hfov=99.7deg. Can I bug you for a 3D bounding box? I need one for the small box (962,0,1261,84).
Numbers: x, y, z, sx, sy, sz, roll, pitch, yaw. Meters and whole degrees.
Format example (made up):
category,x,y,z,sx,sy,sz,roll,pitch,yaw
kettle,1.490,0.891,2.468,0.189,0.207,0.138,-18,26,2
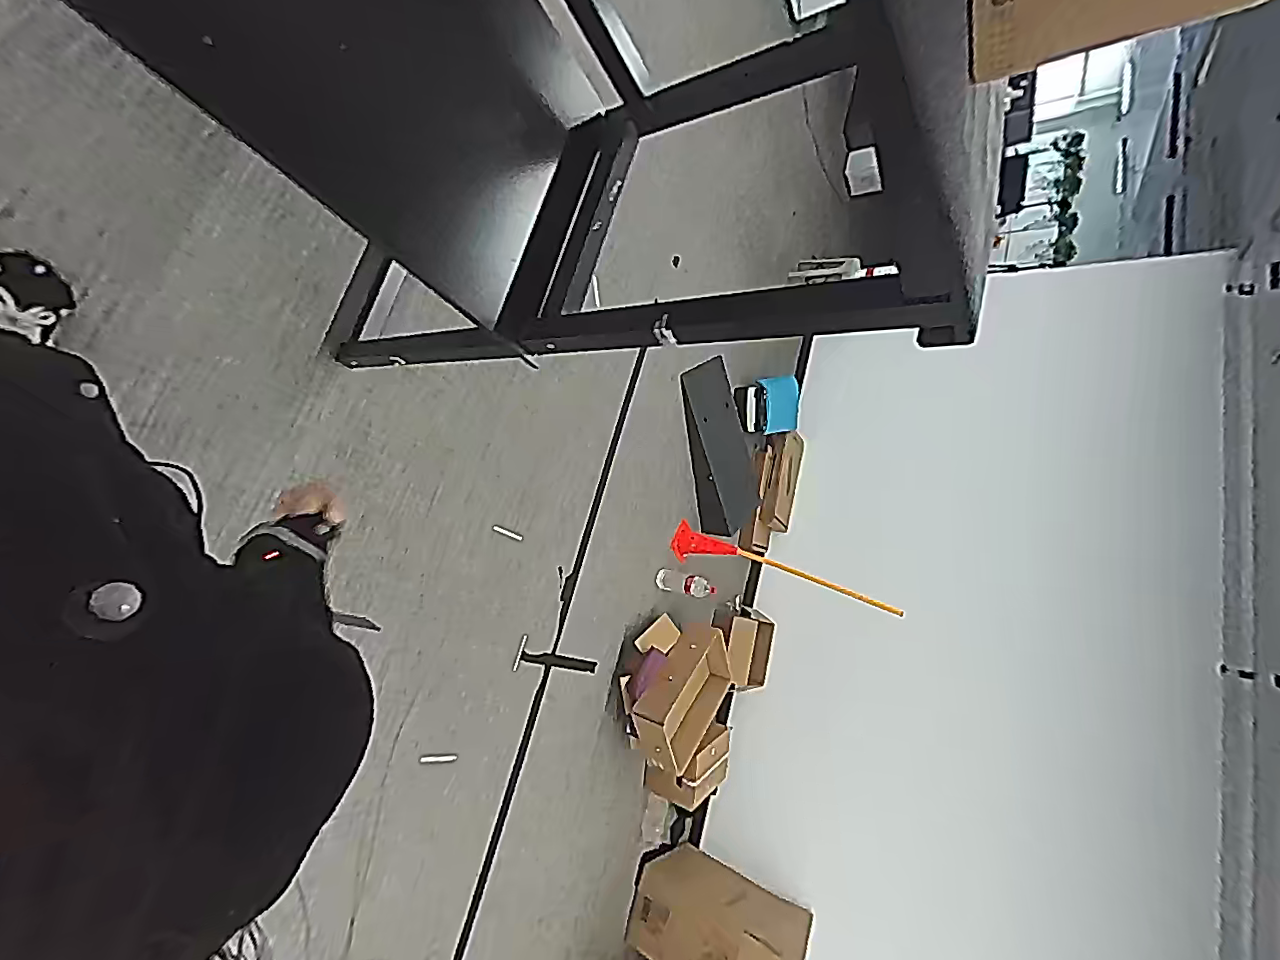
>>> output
category,x,y,z,sx,sy,sz,roll,pitch,yaw
small box,0.324,-0.424,0.372,0.168,0.176,0.179,47,56,-48
